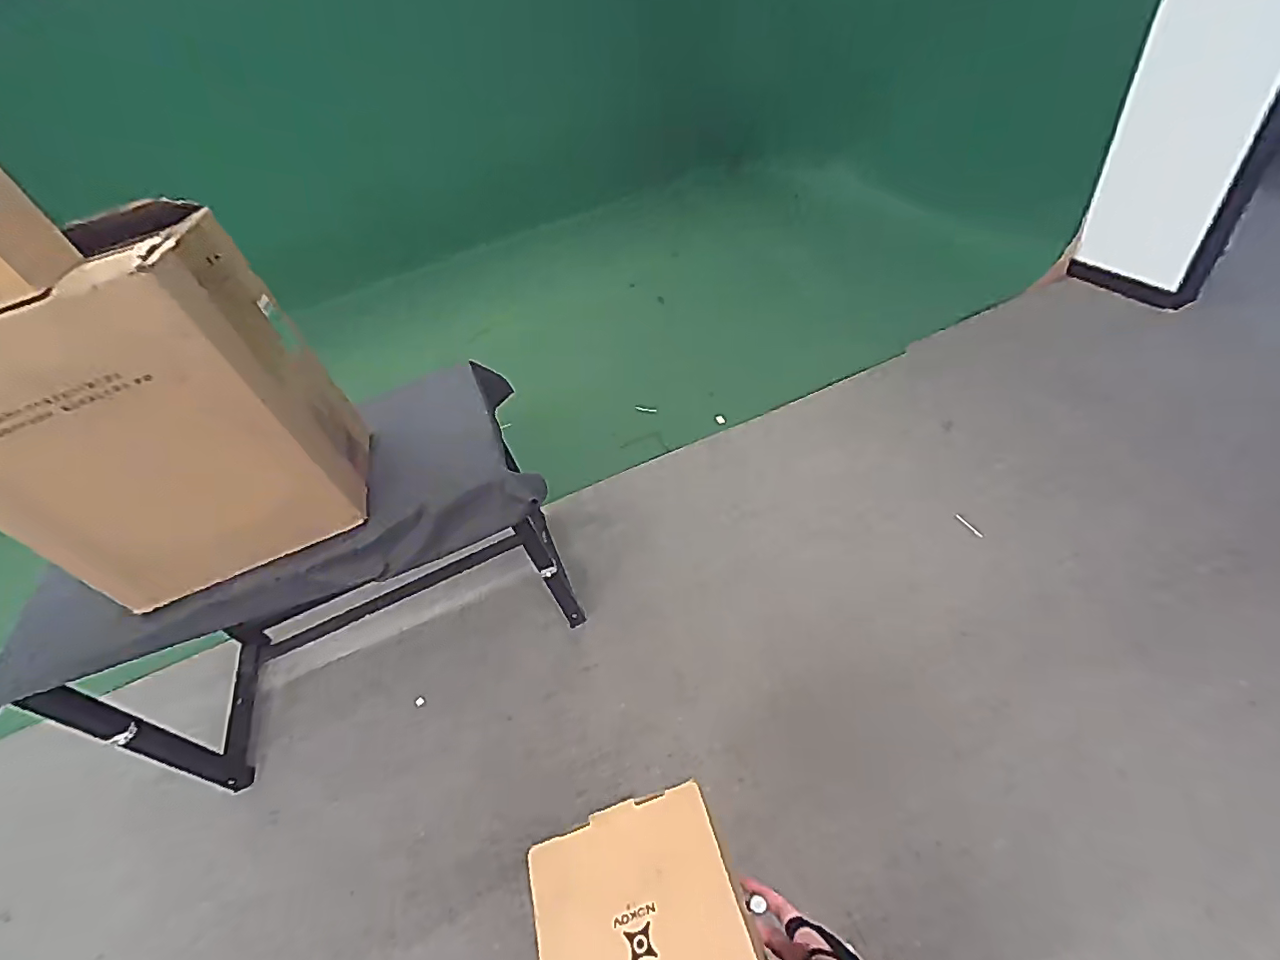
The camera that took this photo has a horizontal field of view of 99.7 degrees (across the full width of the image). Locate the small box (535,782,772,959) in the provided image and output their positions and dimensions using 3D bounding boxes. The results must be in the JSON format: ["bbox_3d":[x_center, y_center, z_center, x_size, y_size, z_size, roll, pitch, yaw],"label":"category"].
[{"bbox_3d":[0.022,0.413,0.484,0.168,0.176,0.179,-22,44,-3],"label":"small box"}]

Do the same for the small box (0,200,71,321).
[{"bbox_3d":[-1.033,-0.332,0.810,0.168,0.176,0.179,-23,43,-7],"label":"small box"}]
